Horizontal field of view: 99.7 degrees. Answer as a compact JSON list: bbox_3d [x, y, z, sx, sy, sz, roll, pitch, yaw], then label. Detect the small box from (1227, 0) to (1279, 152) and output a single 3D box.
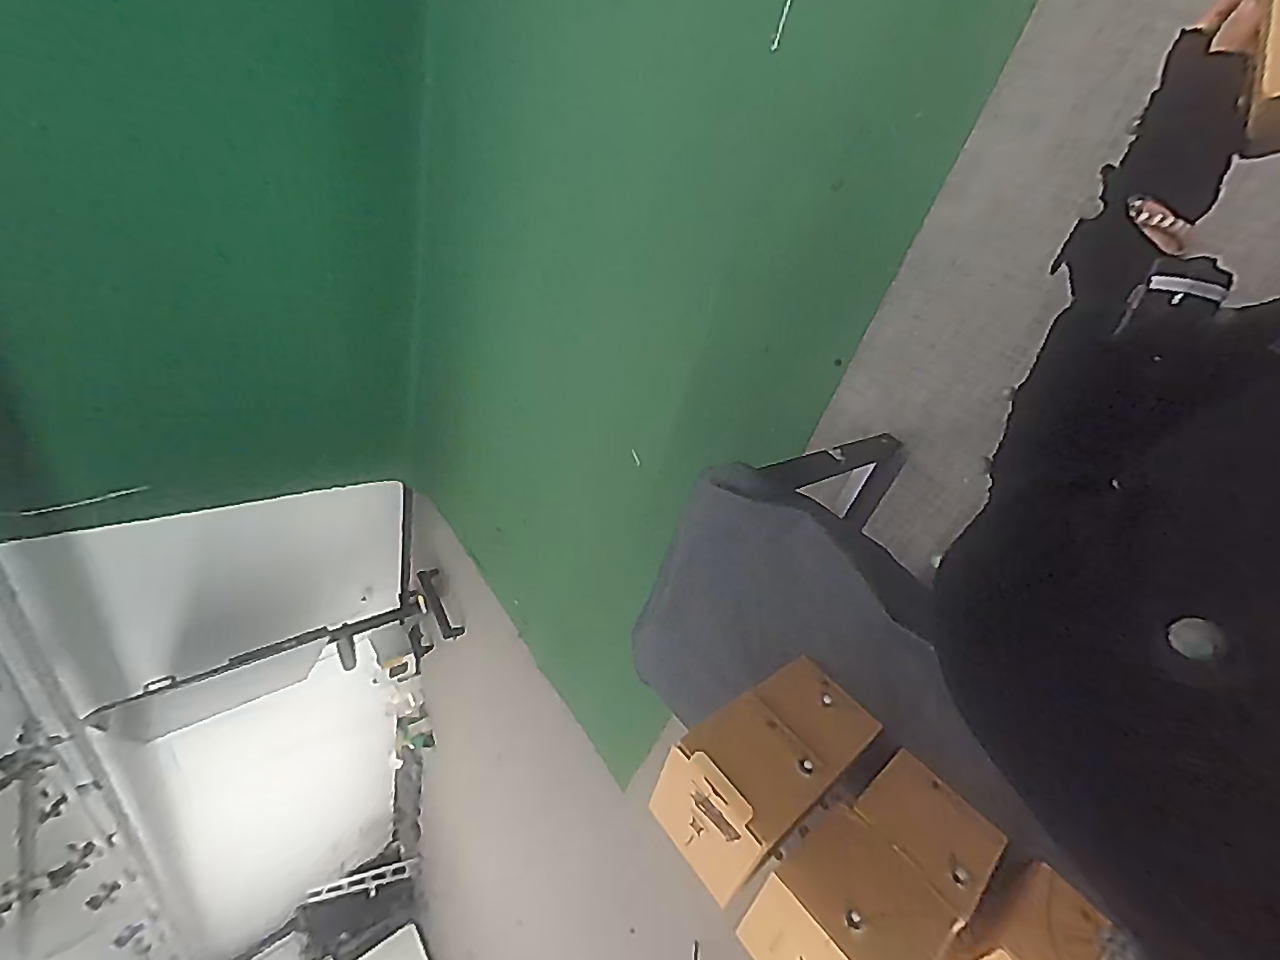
[{"bbox_3d":[0.460,-0.307,0.290,0.179,0.176,0.168,7,105,43],"label":"small box"}]
